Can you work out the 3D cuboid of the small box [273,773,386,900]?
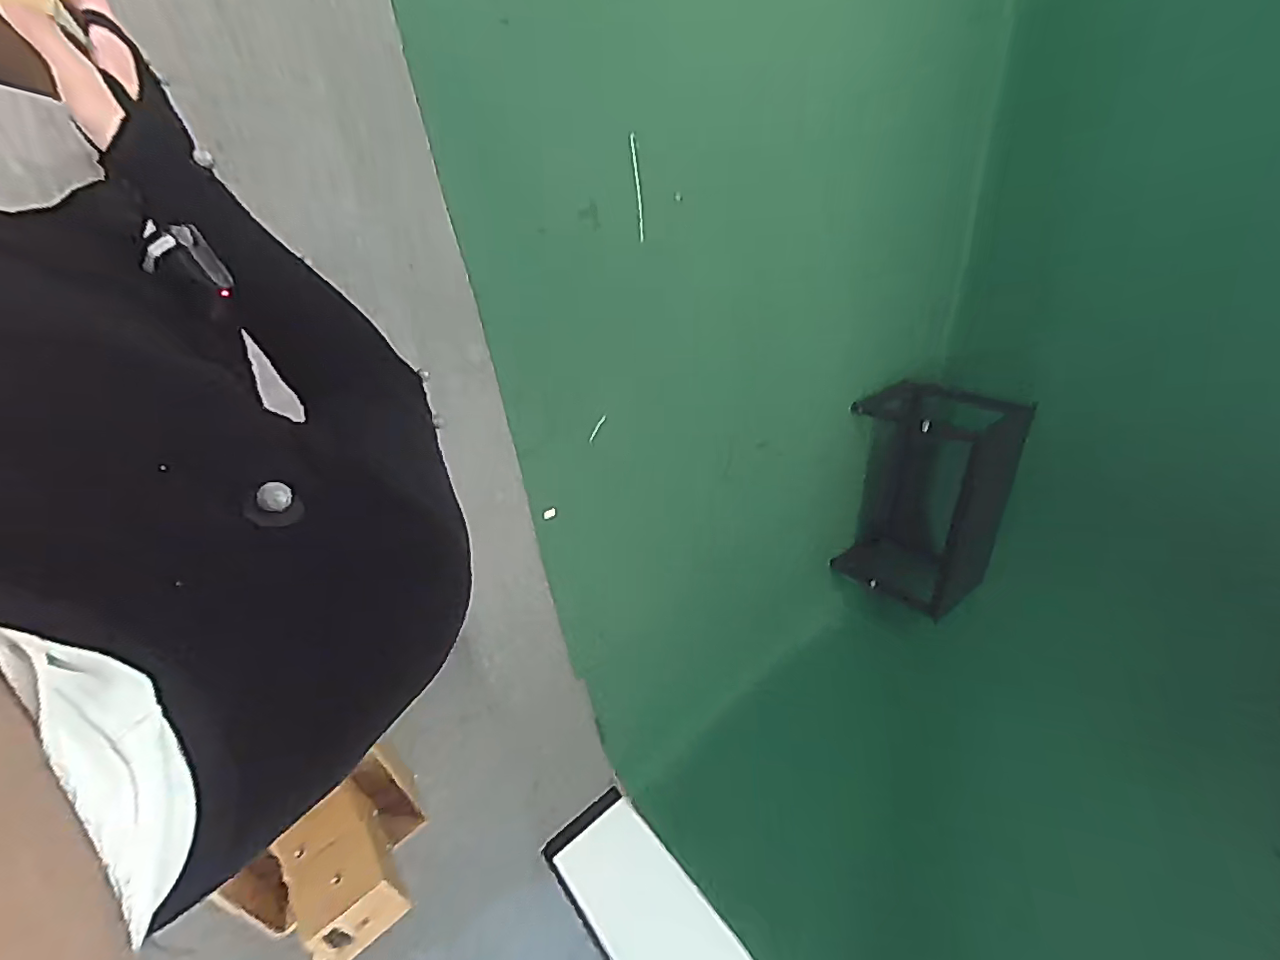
[{"bbox_3d":[-0.779,0.882,1.353,0.179,0.176,0.168,-33,131,-25],"label":"small box"}]

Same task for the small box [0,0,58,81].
[{"bbox_3d":[-0.536,-0.429,0.375,0.168,0.176,0.179,-9,105,-44],"label":"small box"}]
